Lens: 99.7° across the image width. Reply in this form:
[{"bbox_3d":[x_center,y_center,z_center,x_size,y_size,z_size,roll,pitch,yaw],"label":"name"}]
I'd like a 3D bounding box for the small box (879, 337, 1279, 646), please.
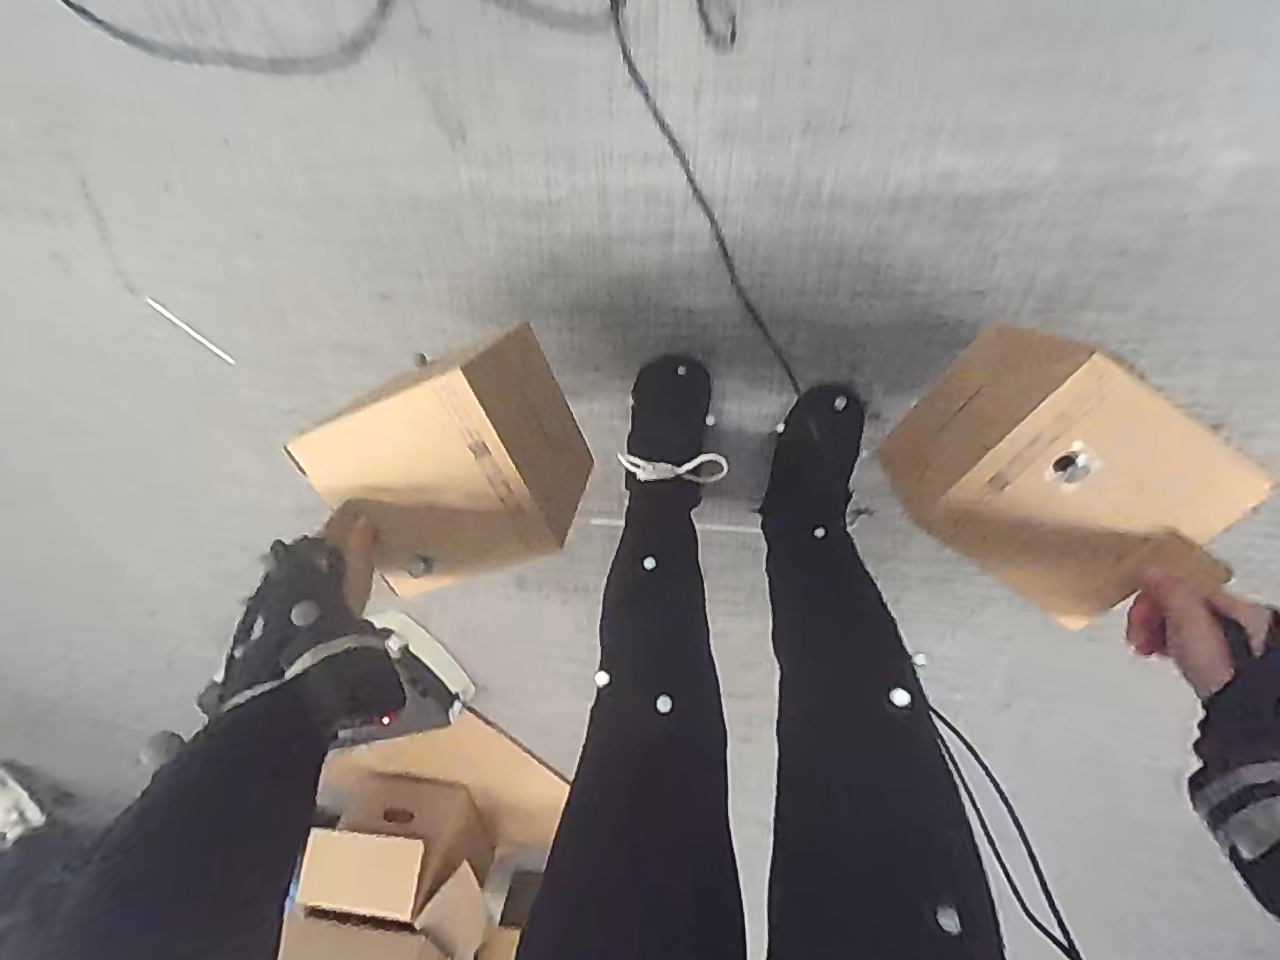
[{"bbox_3d":[0.338,-0.005,0.465,0.176,0.179,0.168,34,114,-4],"label":"small box"}]
